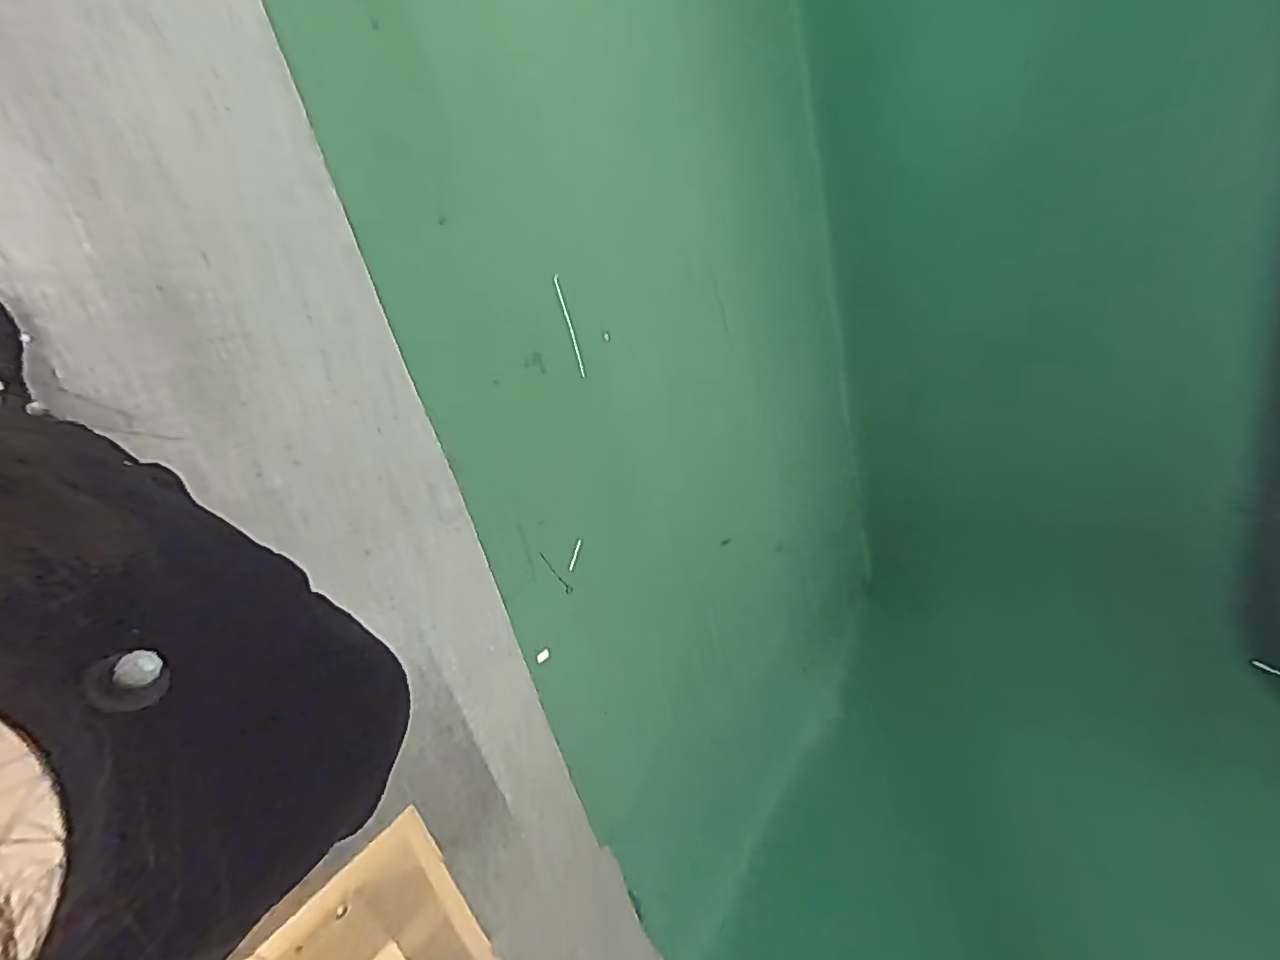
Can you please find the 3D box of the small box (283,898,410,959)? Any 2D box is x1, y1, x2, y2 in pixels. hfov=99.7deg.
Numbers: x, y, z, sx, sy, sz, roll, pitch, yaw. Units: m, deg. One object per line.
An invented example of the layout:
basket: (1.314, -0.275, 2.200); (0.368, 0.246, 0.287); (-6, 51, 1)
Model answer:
small box: (-0.498, 0.873, 0.928); (0.168, 0.176, 0.179); (-33, 115, -43)
